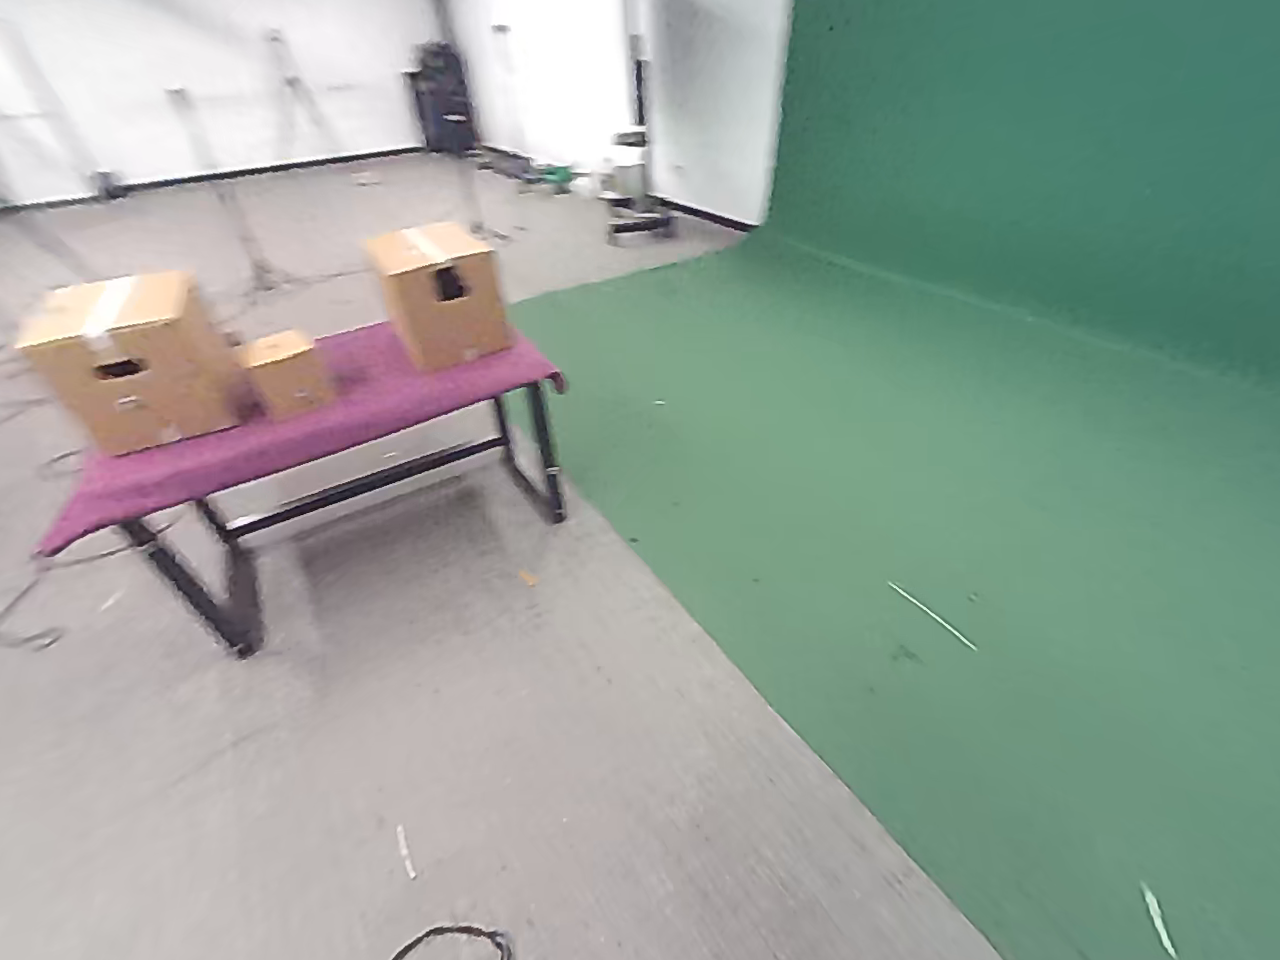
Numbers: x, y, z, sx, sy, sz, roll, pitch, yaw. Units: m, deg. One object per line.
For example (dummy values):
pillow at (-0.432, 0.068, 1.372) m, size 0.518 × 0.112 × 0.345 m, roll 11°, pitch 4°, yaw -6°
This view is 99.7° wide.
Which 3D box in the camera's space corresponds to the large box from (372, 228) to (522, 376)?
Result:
large box at (-0.628, -0.594, 1.771) m, size 0.320 × 0.320 × 0.408 m, roll -25°, pitch 45°, yaw -22°
